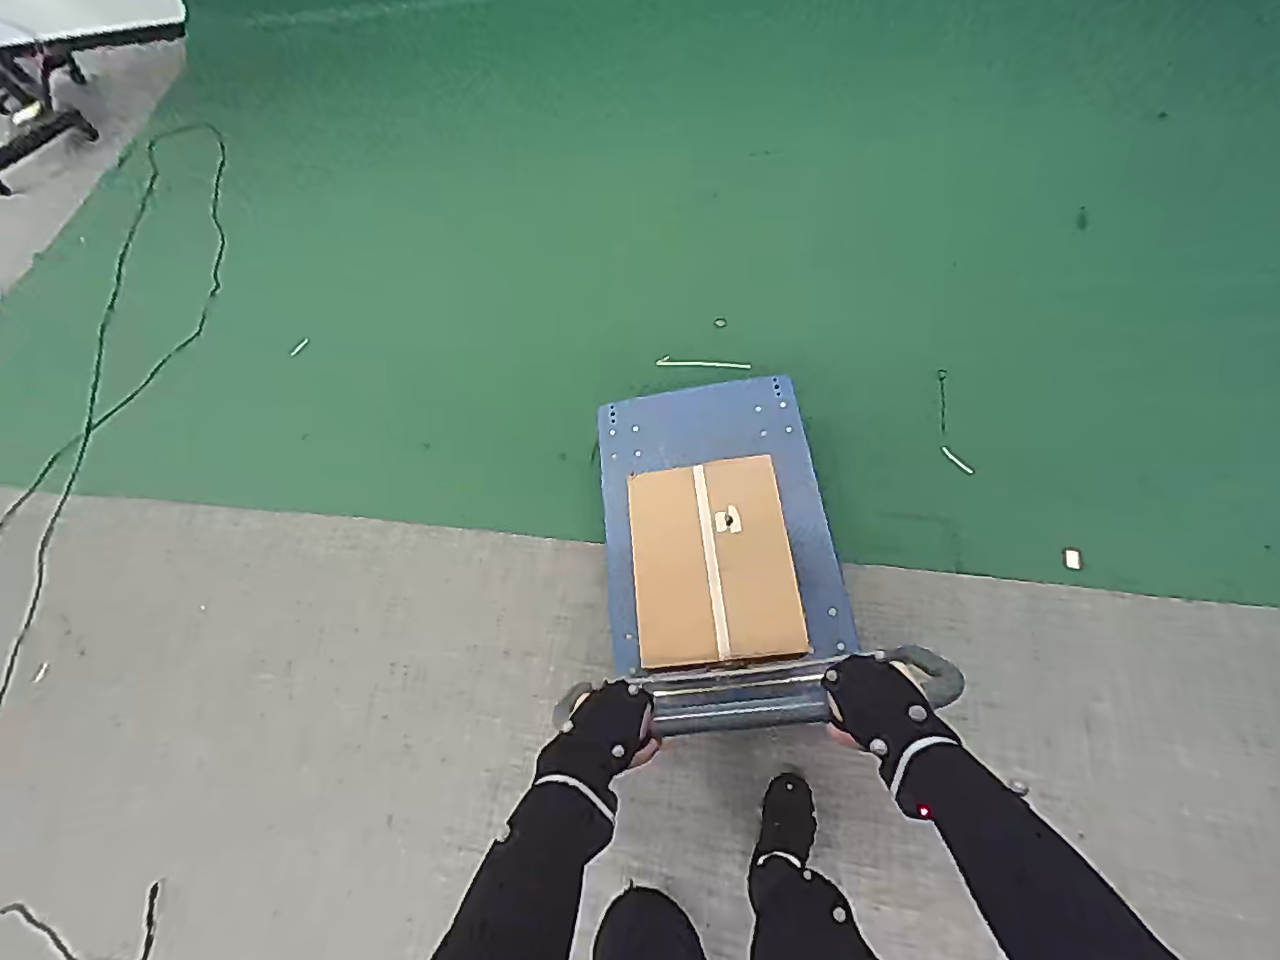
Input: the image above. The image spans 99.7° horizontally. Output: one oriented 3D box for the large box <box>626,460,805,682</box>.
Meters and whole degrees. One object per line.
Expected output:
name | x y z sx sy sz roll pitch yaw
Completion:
large box | 0.164 0.219 1.228 0.320 0.320 0.408 -8 64 7
